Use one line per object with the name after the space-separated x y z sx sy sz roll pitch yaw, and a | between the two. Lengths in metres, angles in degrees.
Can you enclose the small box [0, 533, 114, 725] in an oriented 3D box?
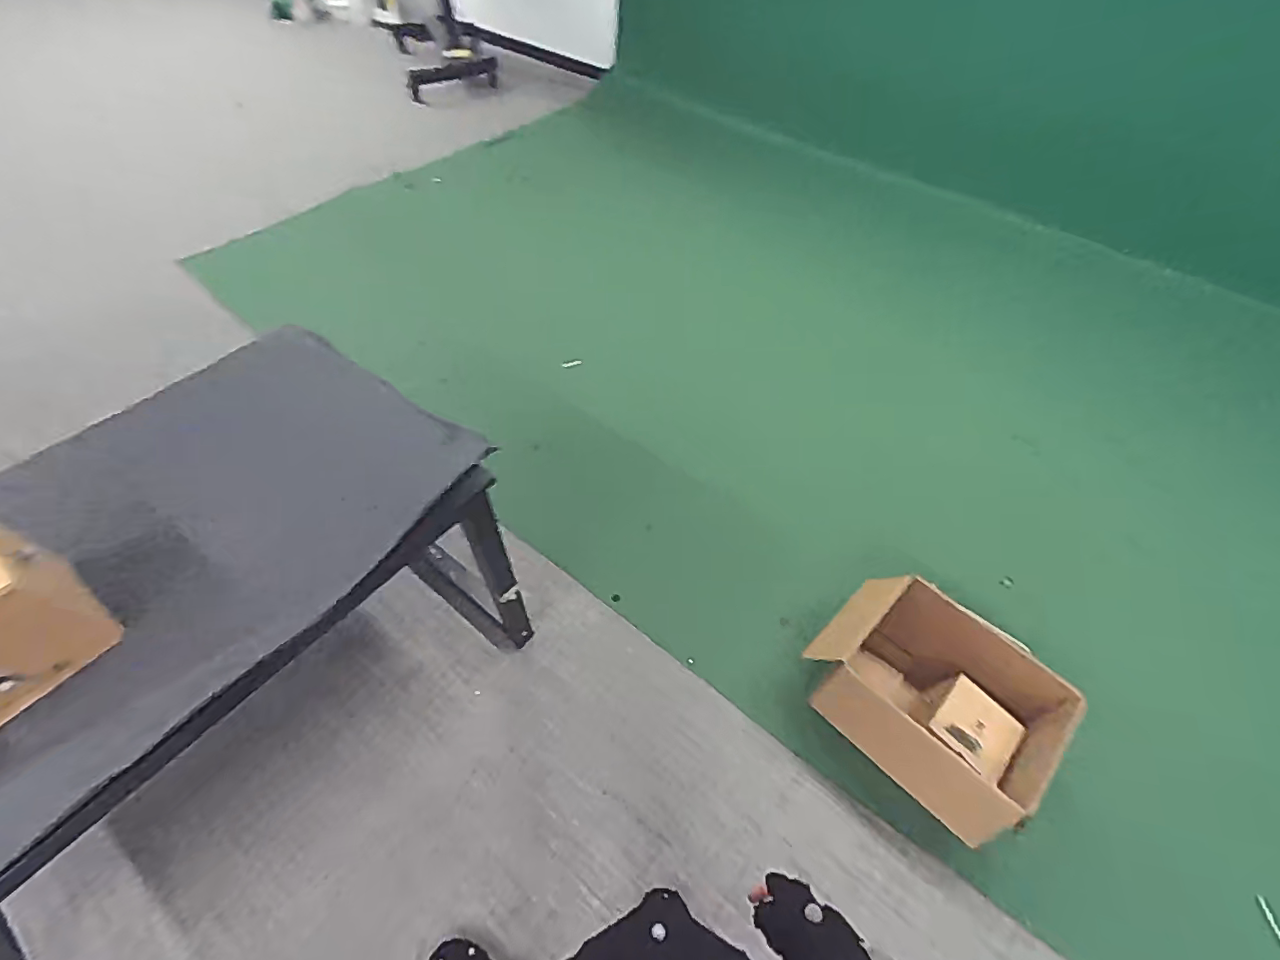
-0.800 0.172 0.638 0.179 0.176 0.168 32 58 18 | small box
